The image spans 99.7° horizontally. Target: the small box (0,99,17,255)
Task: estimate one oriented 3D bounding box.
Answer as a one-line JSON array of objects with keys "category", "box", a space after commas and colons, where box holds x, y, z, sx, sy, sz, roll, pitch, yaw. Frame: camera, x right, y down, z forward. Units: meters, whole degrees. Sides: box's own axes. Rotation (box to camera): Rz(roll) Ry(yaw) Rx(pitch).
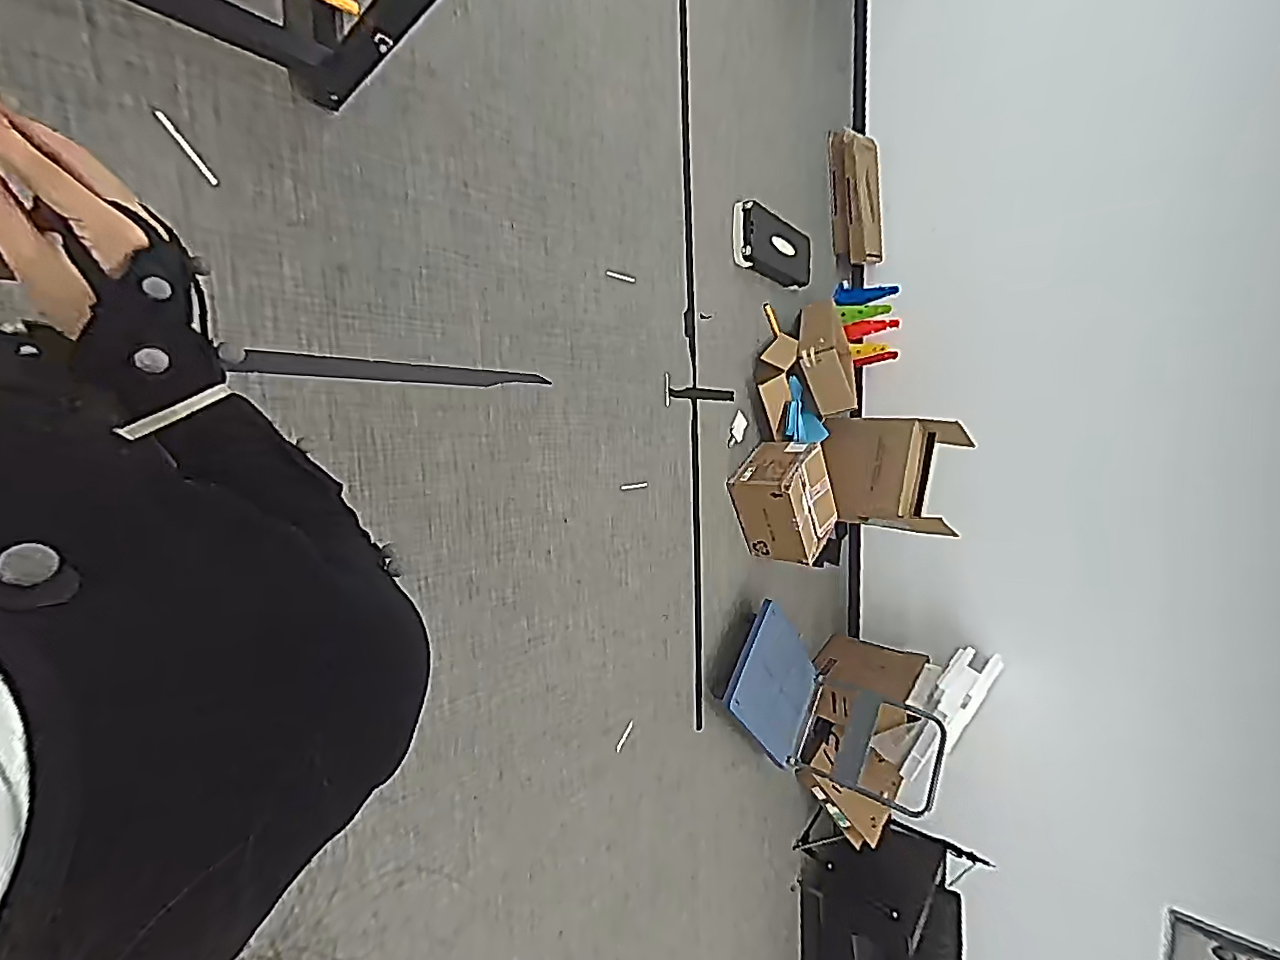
[{"category": "small box", "box": [-0.445, -0.222, 0.261, 0.179, 0.176, 0.168, -10, 83, -44]}]
